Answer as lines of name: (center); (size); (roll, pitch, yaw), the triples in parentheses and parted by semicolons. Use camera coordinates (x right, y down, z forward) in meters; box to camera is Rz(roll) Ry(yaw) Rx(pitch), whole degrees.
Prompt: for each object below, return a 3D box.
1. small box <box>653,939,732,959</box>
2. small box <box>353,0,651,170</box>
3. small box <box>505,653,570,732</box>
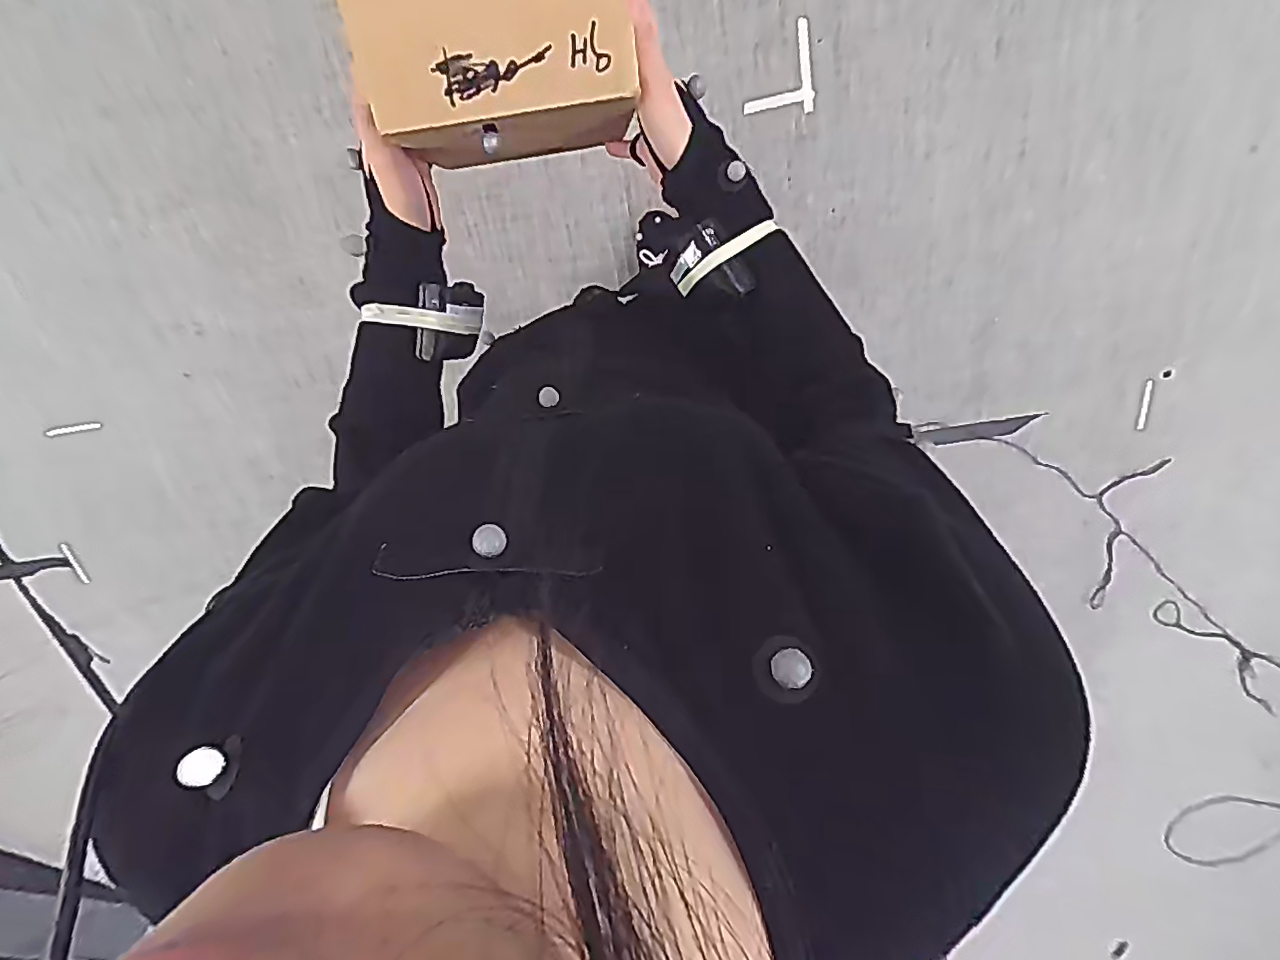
small box: (0.119, 1.090, 1.119); (0.168, 0.176, 0.179); (-8, 114, 3)
small box: (-0.093, -0.333, 0.371); (0.168, 0.176, 0.179); (-10, 114, -2)
small box: (-0.324, 0.674, 1.727); (0.179, 0.176, 0.168); (6, 111, -5)
